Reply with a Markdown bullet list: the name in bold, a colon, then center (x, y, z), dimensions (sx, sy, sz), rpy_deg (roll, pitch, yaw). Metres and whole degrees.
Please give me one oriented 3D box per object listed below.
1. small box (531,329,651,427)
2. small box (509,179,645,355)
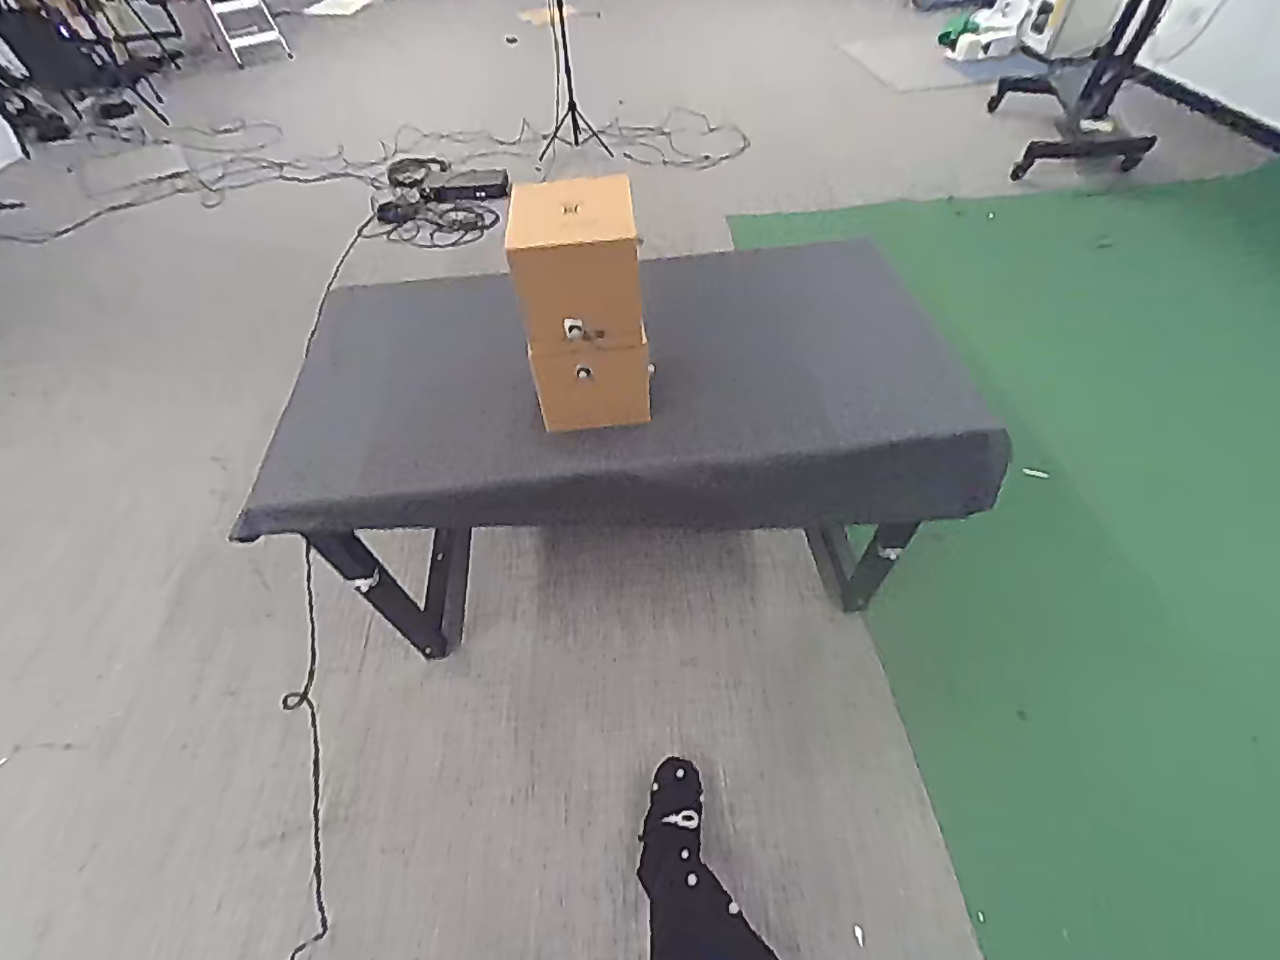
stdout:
- **small box**: center (-0.078, -0.204, 0.908), dimensions (0.179, 0.176, 0.168), rpy_deg (-6, 52, -2)
- **small box**: center (-0.084, -0.306, 0.783), dimensions (0.168, 0.176, 0.179), rpy_deg (-7, 53, 0)
